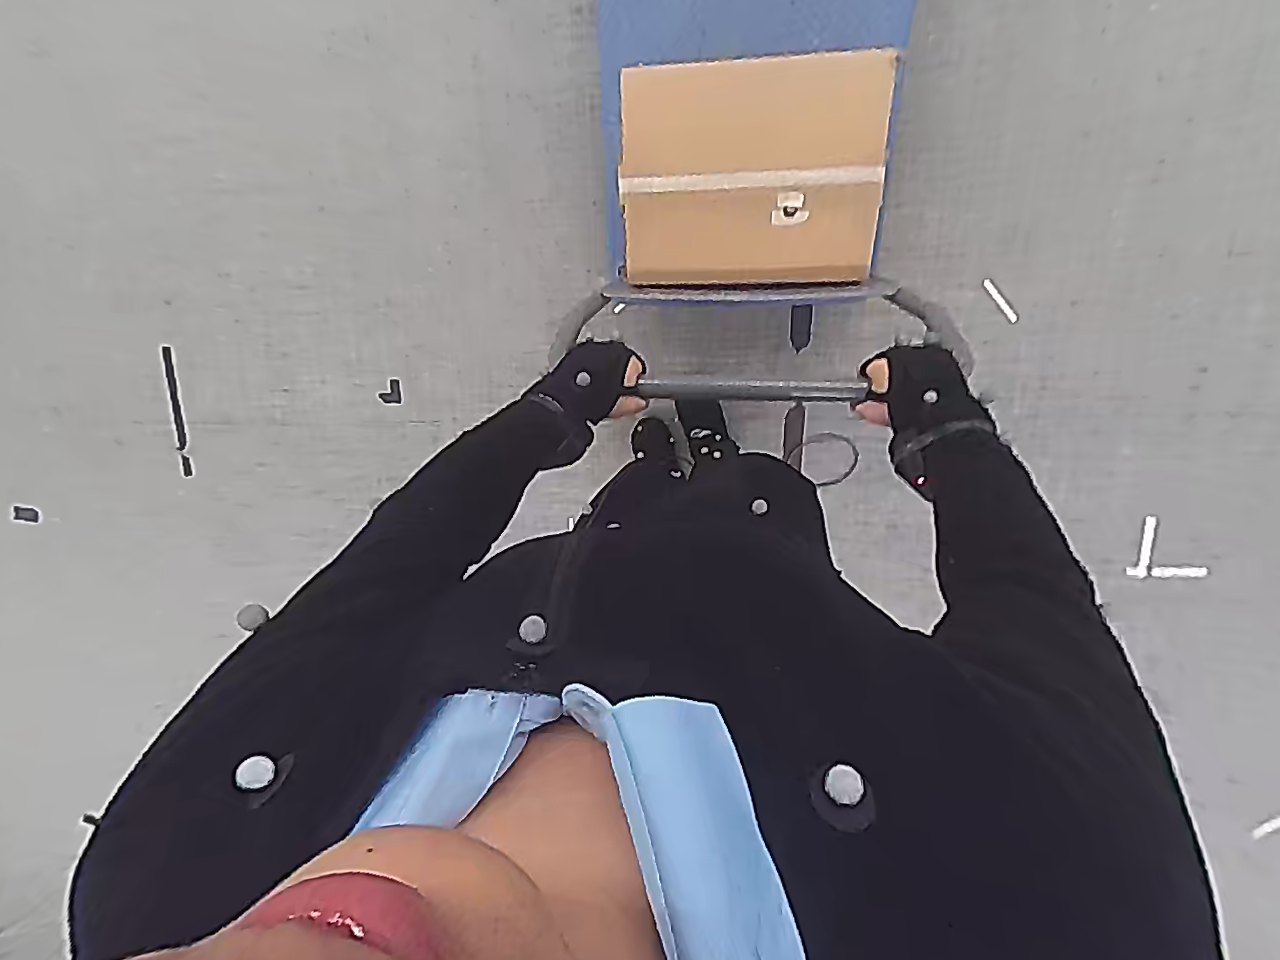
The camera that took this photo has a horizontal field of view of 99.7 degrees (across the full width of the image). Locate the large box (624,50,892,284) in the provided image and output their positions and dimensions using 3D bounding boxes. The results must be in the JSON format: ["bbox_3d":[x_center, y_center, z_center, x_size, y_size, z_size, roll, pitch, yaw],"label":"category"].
[{"bbox_3d":[0.195,-0.547,1.007,0.408,0.320,0.320,1,114,7],"label":"large box"}]
